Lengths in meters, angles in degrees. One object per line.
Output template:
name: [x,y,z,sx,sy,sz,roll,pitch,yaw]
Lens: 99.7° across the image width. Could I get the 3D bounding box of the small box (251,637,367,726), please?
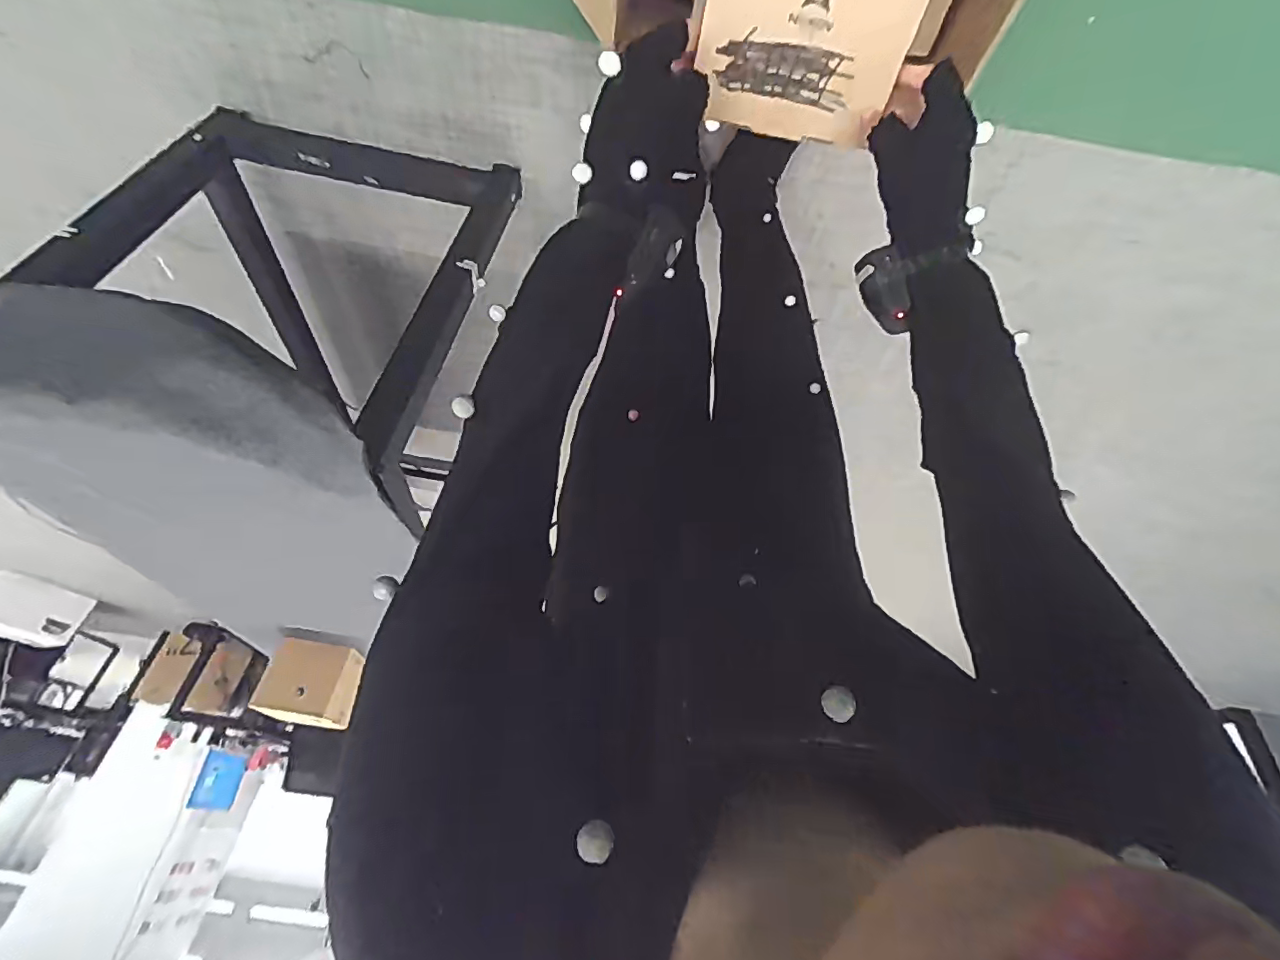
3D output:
small box: [-0.810,0.503,1.352,0.179,0.176,0.168,10,146,-1]
